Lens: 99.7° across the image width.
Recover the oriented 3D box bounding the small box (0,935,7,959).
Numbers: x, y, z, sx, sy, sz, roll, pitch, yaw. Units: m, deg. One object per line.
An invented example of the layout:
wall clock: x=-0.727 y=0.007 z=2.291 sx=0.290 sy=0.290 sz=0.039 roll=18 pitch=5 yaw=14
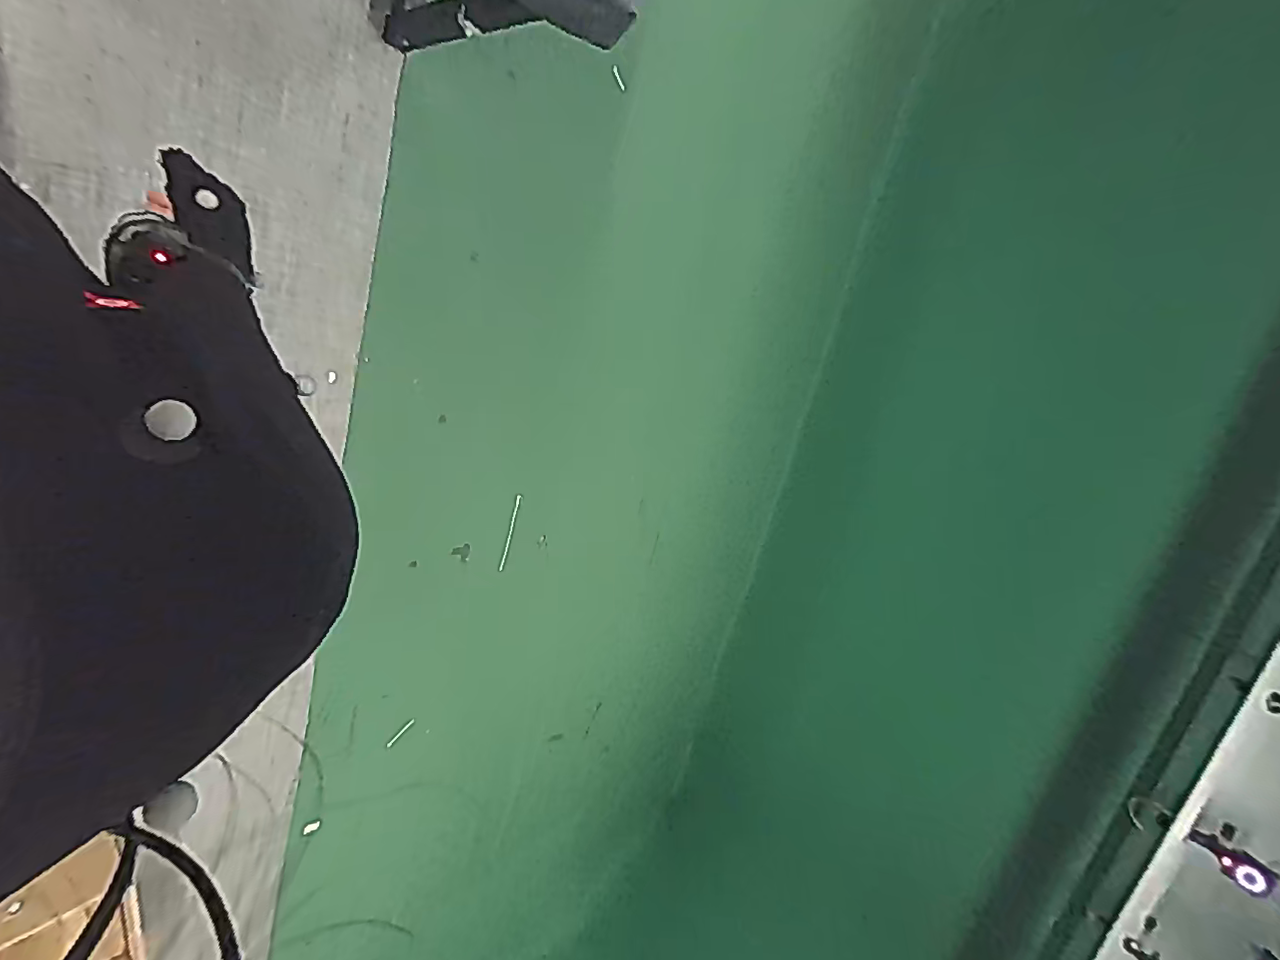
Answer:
small box: x=-1.454 y=1.124 z=1.133 sx=0.179 sy=0.176 sz=0.168 roll=-9 pitch=116 yaw=-50
